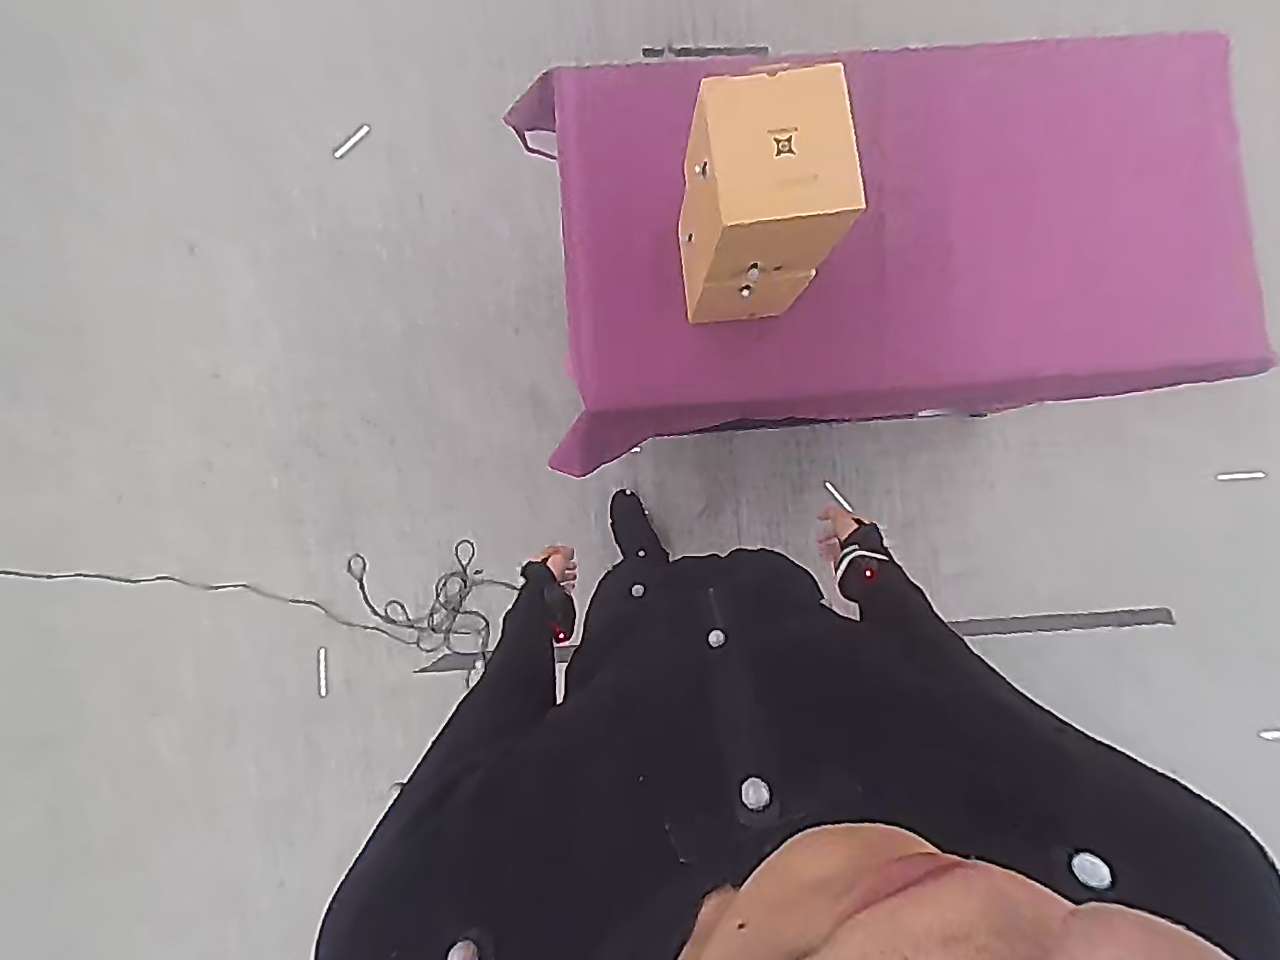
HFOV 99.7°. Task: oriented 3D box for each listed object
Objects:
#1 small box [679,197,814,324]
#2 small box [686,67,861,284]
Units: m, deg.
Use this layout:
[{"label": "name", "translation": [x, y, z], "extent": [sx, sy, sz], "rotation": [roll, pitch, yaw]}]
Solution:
[{"label": "small box", "translation": [0.157, -0.365, 0.855], "extent": [0.168, 0.176, 0.179], "rotation": [-6, 87, -2]}, {"label": "small box", "translation": [0.157, -0.375, 0.691], "extent": [0.168, 0.176, 0.179], "rotation": [-7, 88, -2]}]
